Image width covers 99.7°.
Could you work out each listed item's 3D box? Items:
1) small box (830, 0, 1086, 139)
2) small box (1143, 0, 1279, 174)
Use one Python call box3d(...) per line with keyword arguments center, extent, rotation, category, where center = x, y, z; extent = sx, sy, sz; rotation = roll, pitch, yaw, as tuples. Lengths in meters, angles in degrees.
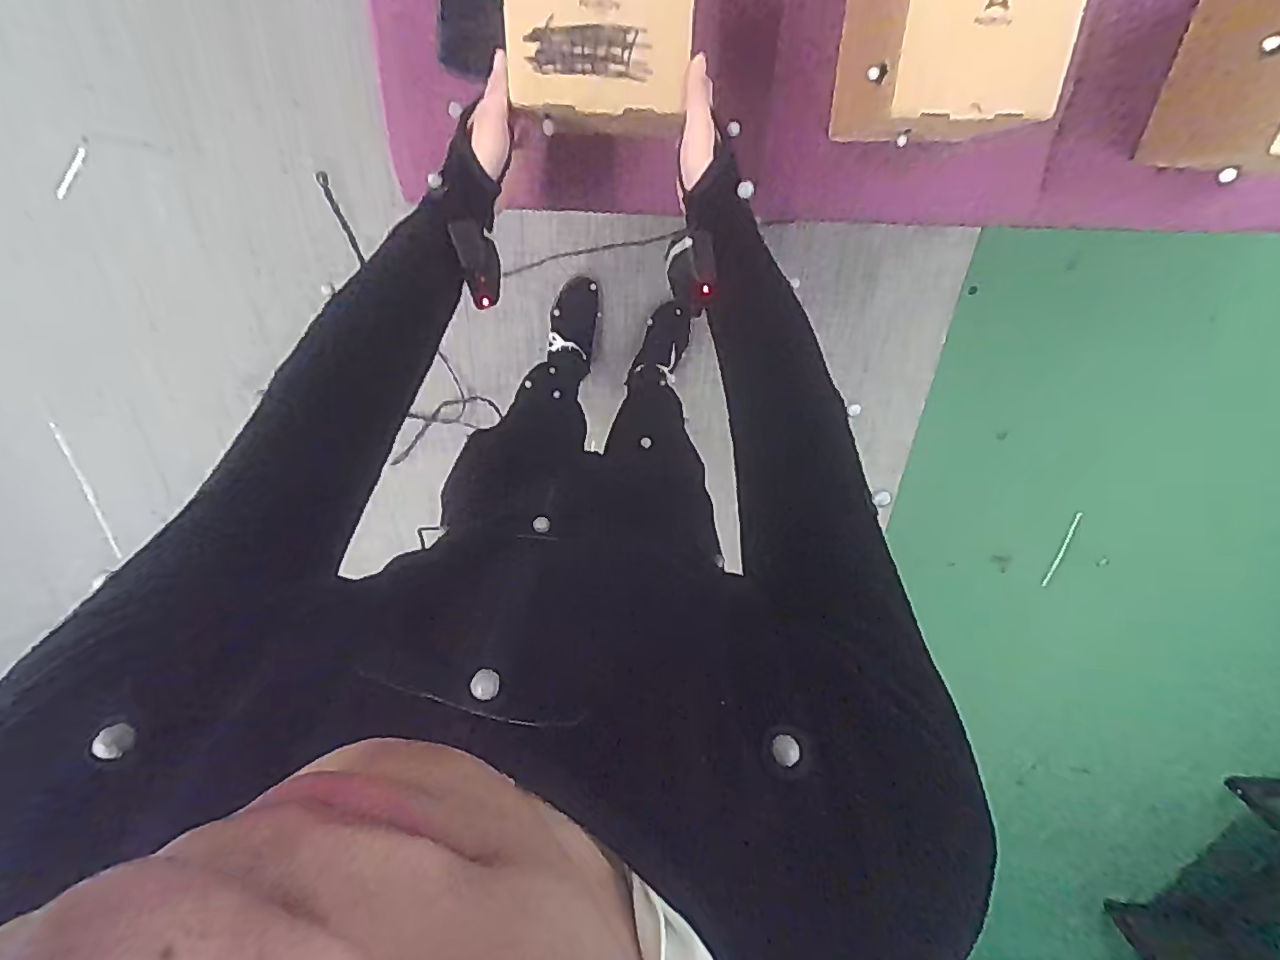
box3d(center=(0.309, -0.459, 0.547), extent=(0.168, 0.176, 0.179), rotation=(-2, 117, -3), category="small box")
box3d(center=(0.708, -0.436, 0.575), extent=(0.168, 0.176, 0.179), rotation=(3, 117, -3), category="small box")
